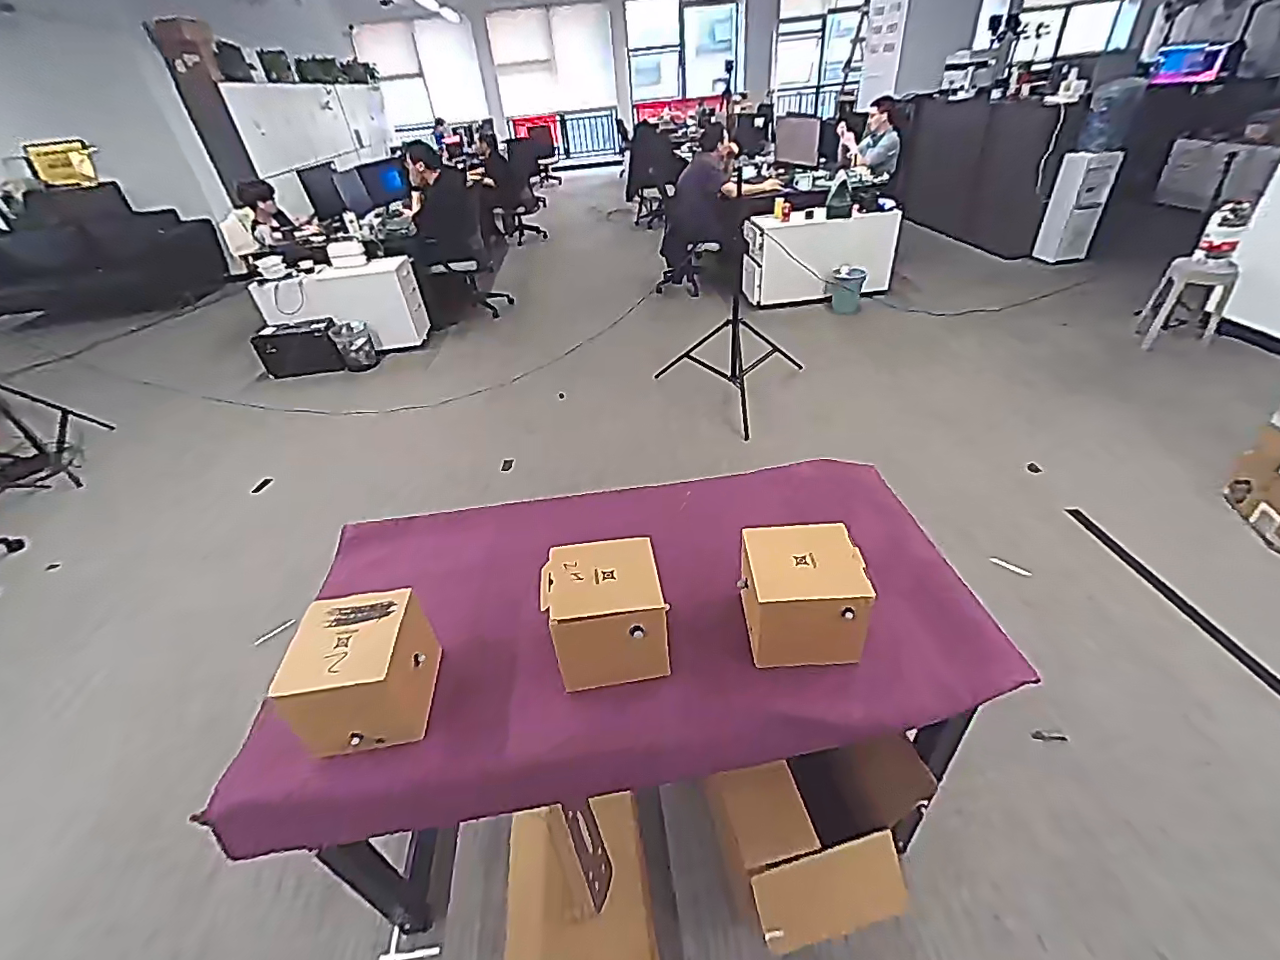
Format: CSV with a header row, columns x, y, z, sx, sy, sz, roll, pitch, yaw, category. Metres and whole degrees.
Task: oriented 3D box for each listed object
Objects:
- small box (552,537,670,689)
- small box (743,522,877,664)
x,y,z,sx,sy,sz,roll,pitch,yaw,category
-0.047,0.222,0.904,0.179,0.176,0.168,-9,34,-3,small box
0.270,0.190,0.904,0.179,0.176,0.168,-4,36,2,small box
